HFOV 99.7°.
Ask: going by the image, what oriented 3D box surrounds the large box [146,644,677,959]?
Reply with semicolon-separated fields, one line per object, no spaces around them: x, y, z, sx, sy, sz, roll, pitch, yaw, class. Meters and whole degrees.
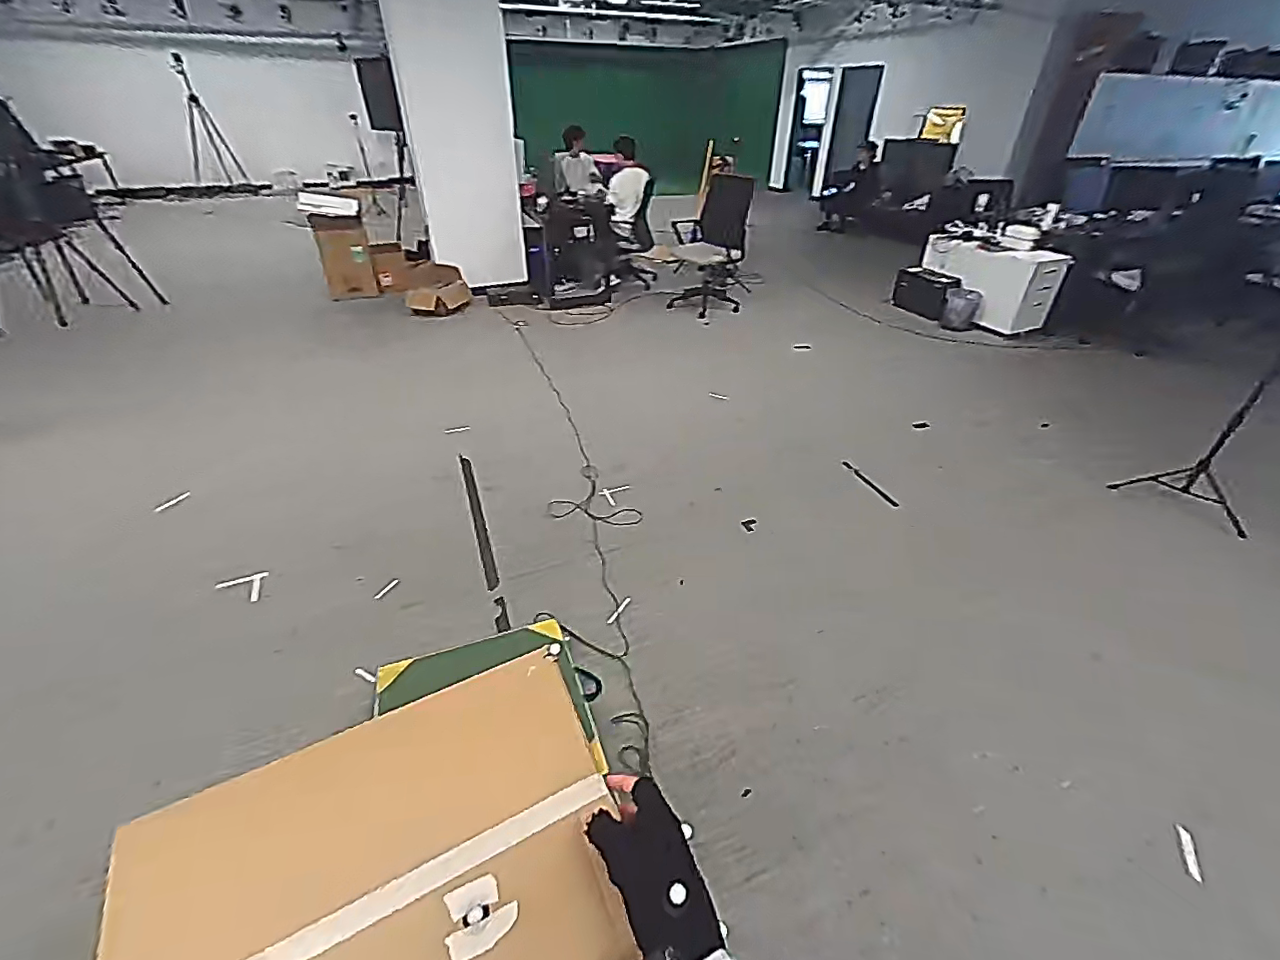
-0.219;0.454;0.593;0.408;0.320;0.320;-18;53;-20;large box
